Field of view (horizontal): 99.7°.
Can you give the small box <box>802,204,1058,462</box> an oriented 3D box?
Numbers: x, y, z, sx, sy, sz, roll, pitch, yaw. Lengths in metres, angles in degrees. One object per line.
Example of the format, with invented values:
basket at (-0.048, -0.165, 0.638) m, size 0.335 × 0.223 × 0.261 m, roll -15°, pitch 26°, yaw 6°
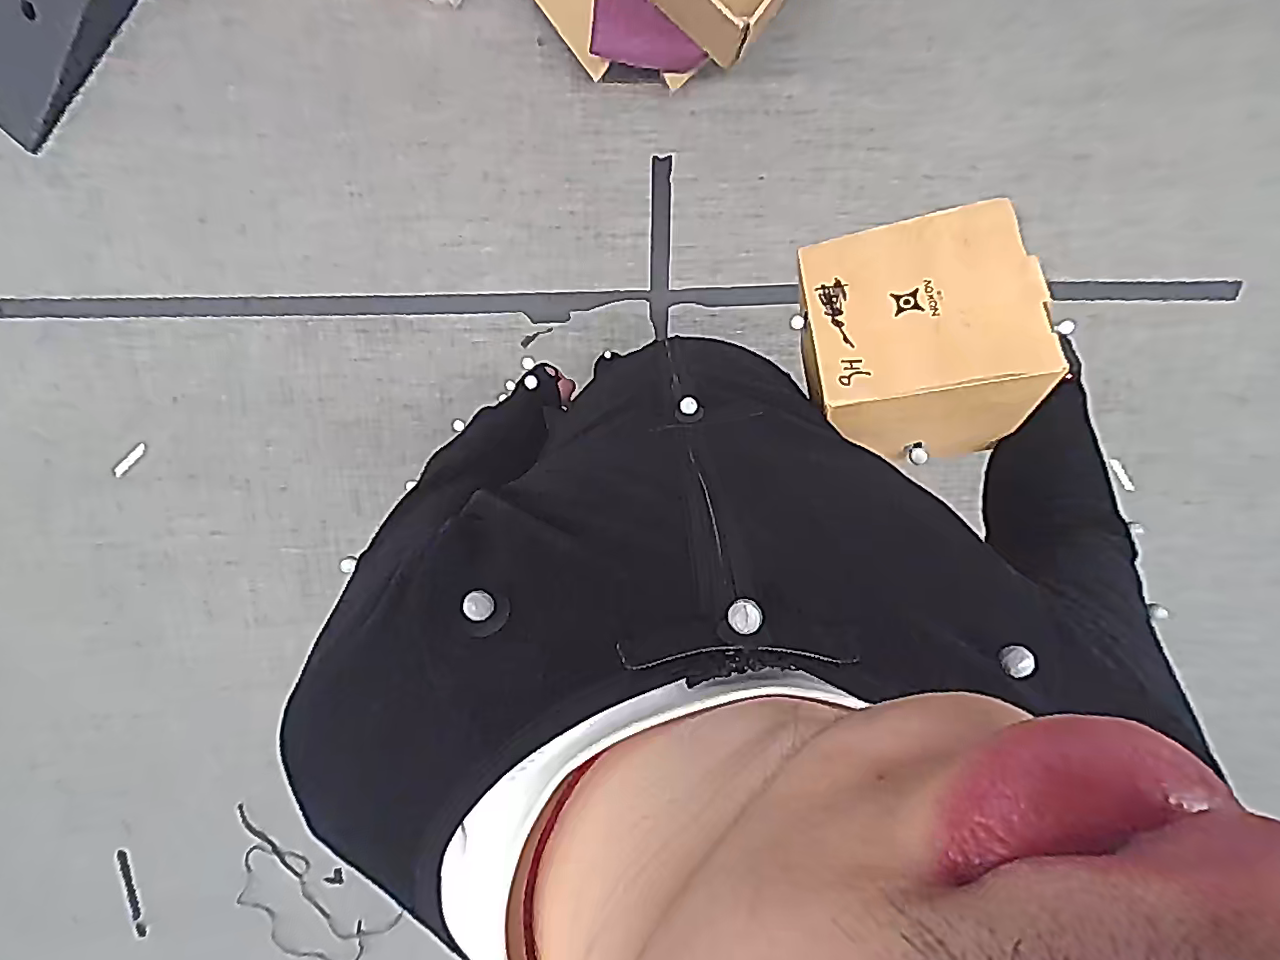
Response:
small box at (0.260, -0.128, 0.537) m, size 0.179 × 0.176 × 0.168 m, roll -8°, pitch 70°, yaw 15°
